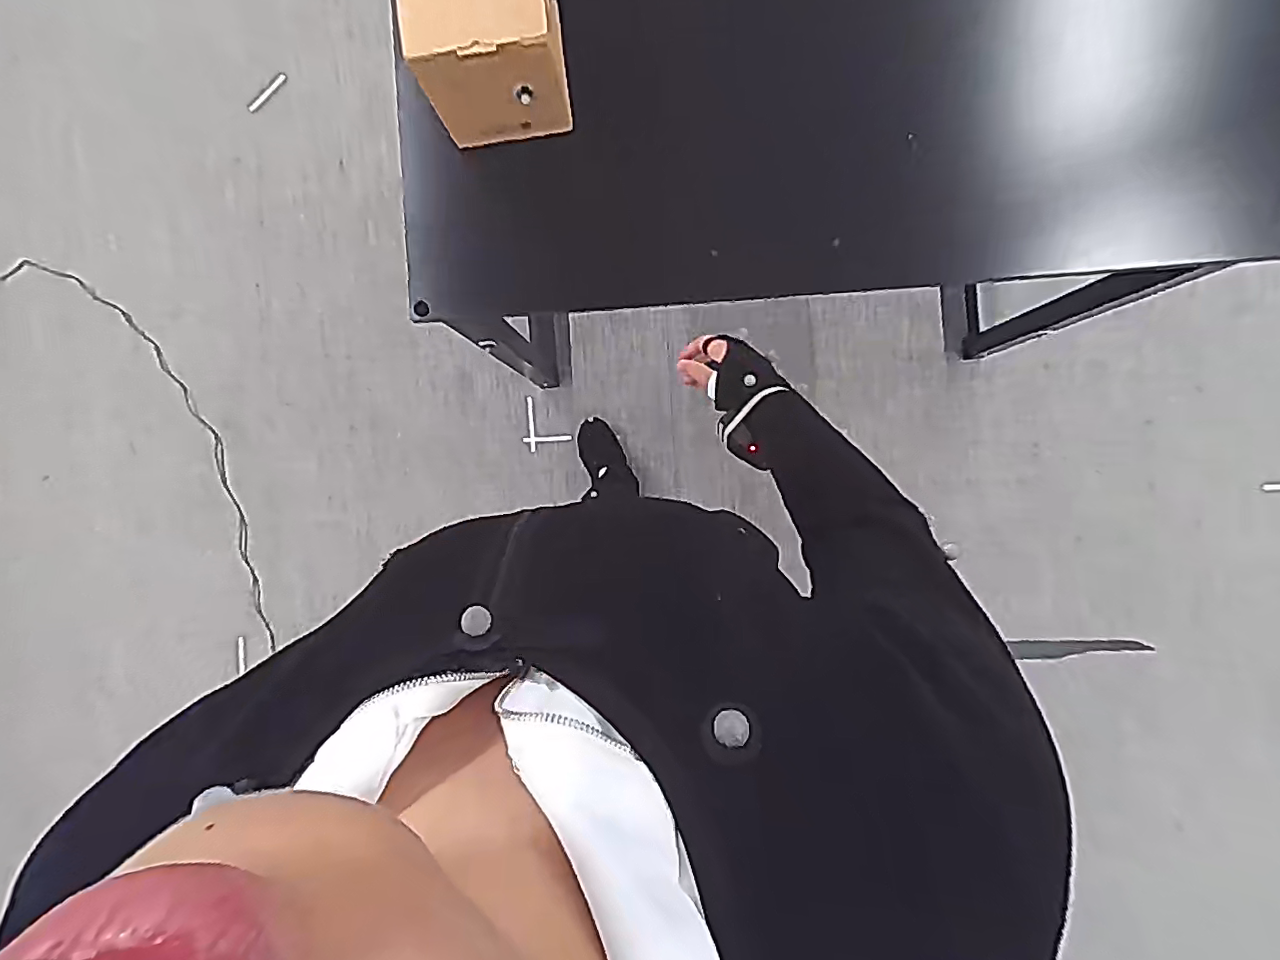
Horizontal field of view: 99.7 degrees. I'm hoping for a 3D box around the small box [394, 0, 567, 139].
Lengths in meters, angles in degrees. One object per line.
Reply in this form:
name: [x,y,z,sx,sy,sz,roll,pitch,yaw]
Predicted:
small box: [-0.193,-0.562,0.681,0.168,0.176,0.179,-7,89,1]
